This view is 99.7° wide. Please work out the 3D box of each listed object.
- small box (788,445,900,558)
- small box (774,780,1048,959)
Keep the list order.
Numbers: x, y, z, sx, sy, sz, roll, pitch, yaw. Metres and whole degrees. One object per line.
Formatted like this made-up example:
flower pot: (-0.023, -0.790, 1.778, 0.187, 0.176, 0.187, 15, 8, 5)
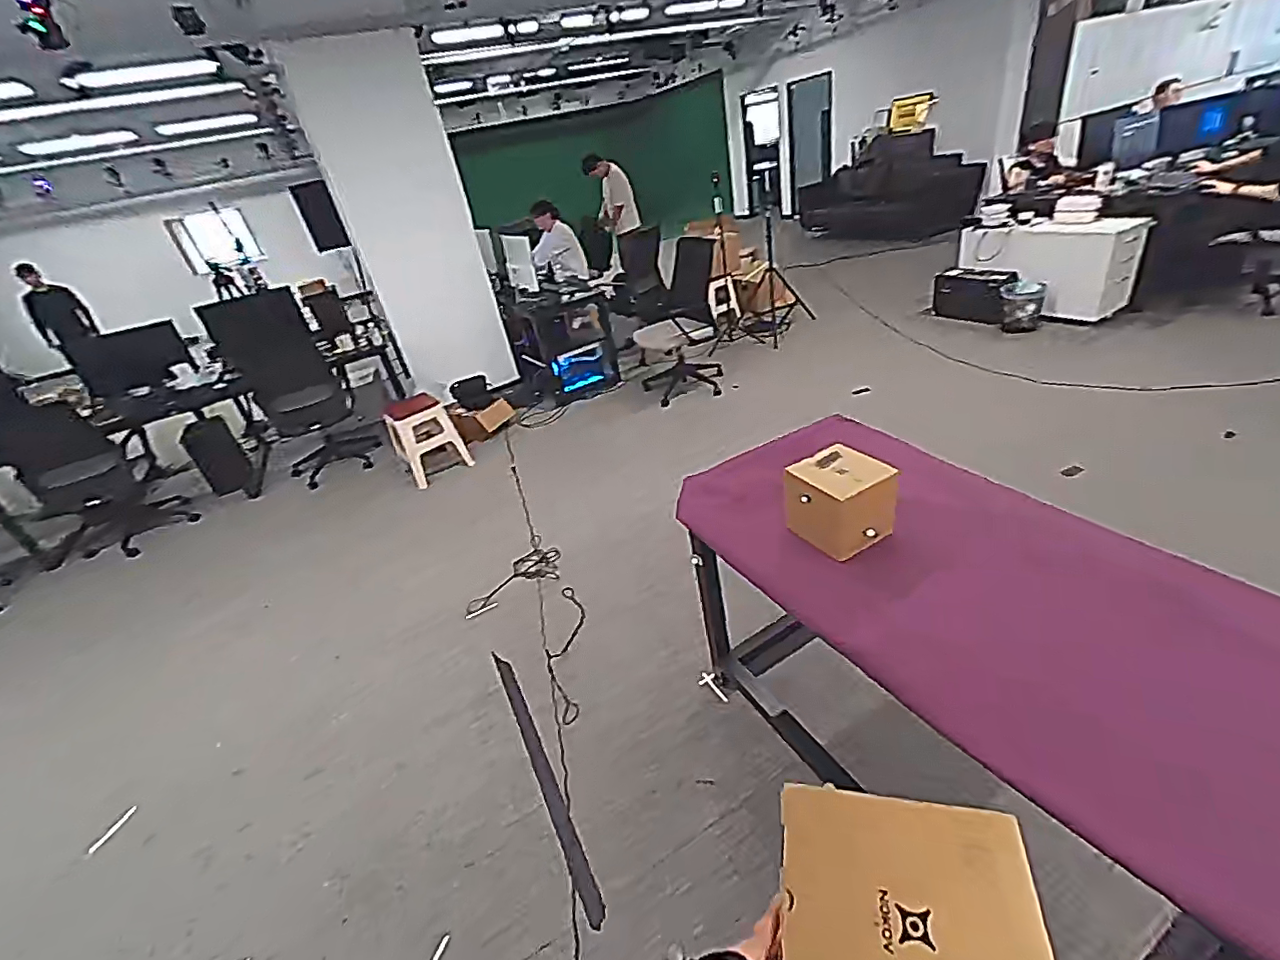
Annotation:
small box: (0.456, 0.047, 1.225, 0.168, 0.176, 0.179, -24, 34, -19)
small box: (0.200, 0.369, 0.431, 0.179, 0.176, 0.168, -1, 41, 17)
